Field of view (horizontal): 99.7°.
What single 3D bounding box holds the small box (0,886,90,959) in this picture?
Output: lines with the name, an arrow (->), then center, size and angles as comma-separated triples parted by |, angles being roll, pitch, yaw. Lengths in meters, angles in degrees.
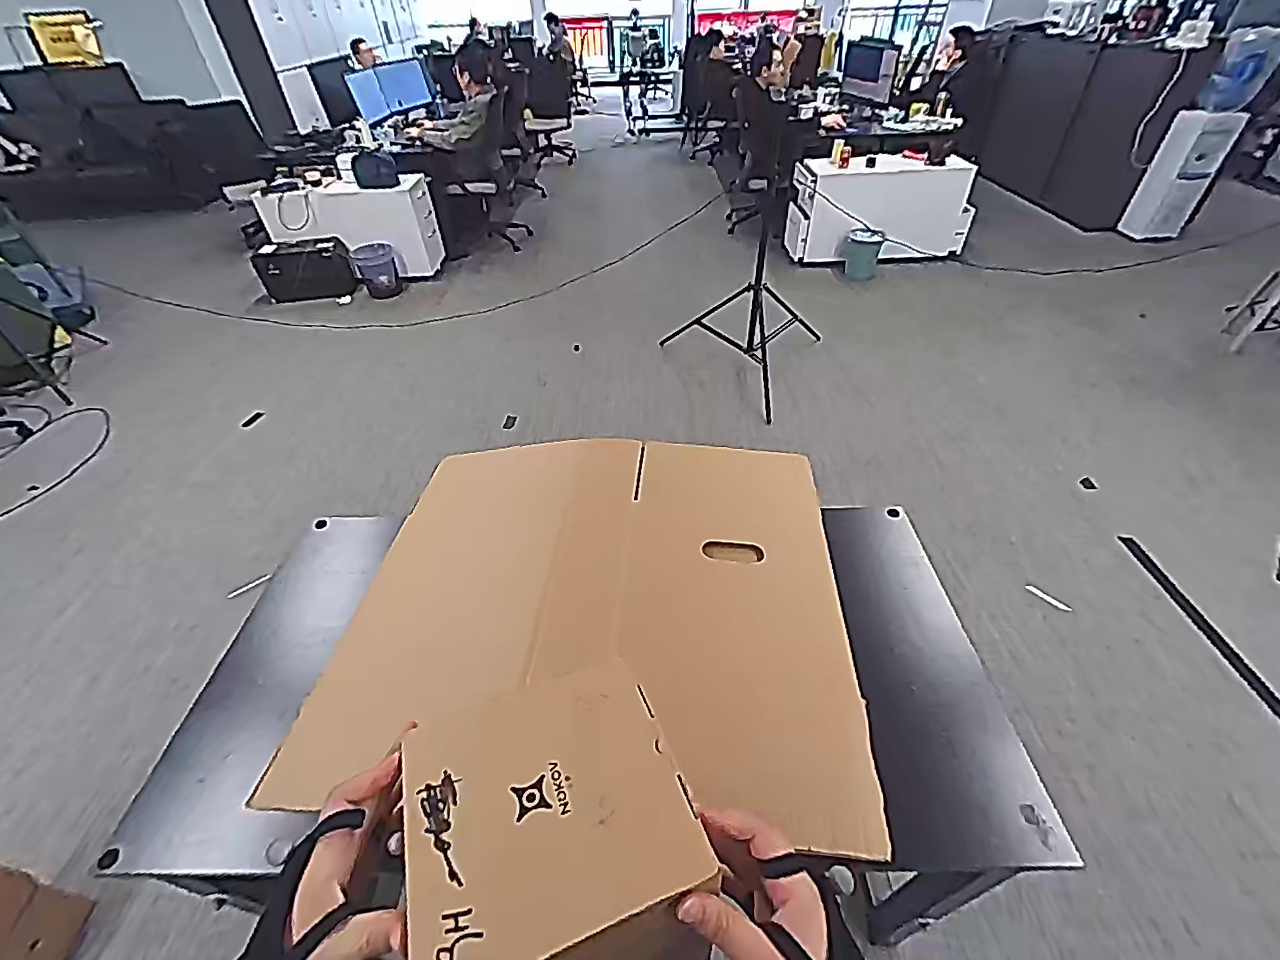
small box -> -1.322, 0.978, 1.125 | 0.168, 0.176, 0.179 | -4, 43, -2

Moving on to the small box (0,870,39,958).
small box -> -1.329, 0.853, 1.021 | 0.168, 0.176, 0.179 | -6, 41, -4
